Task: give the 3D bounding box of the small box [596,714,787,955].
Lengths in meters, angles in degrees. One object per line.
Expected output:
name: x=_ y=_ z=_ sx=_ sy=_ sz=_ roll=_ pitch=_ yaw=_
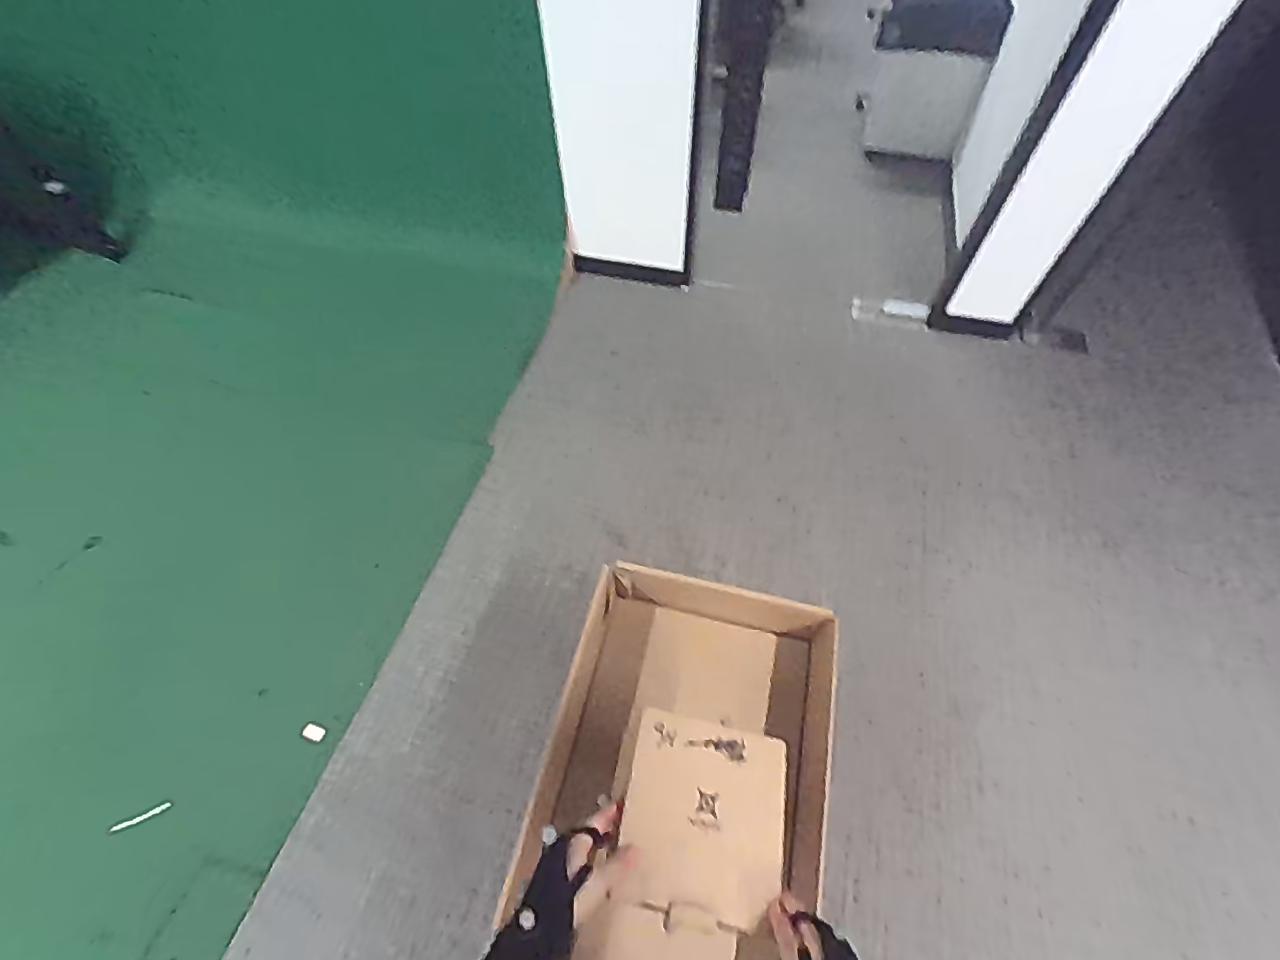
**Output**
small box: x=0.051 y=0.388 z=0.605 sx=0.168 sy=0.176 sz=0.179 roll=15 pitch=54 yaw=-1
